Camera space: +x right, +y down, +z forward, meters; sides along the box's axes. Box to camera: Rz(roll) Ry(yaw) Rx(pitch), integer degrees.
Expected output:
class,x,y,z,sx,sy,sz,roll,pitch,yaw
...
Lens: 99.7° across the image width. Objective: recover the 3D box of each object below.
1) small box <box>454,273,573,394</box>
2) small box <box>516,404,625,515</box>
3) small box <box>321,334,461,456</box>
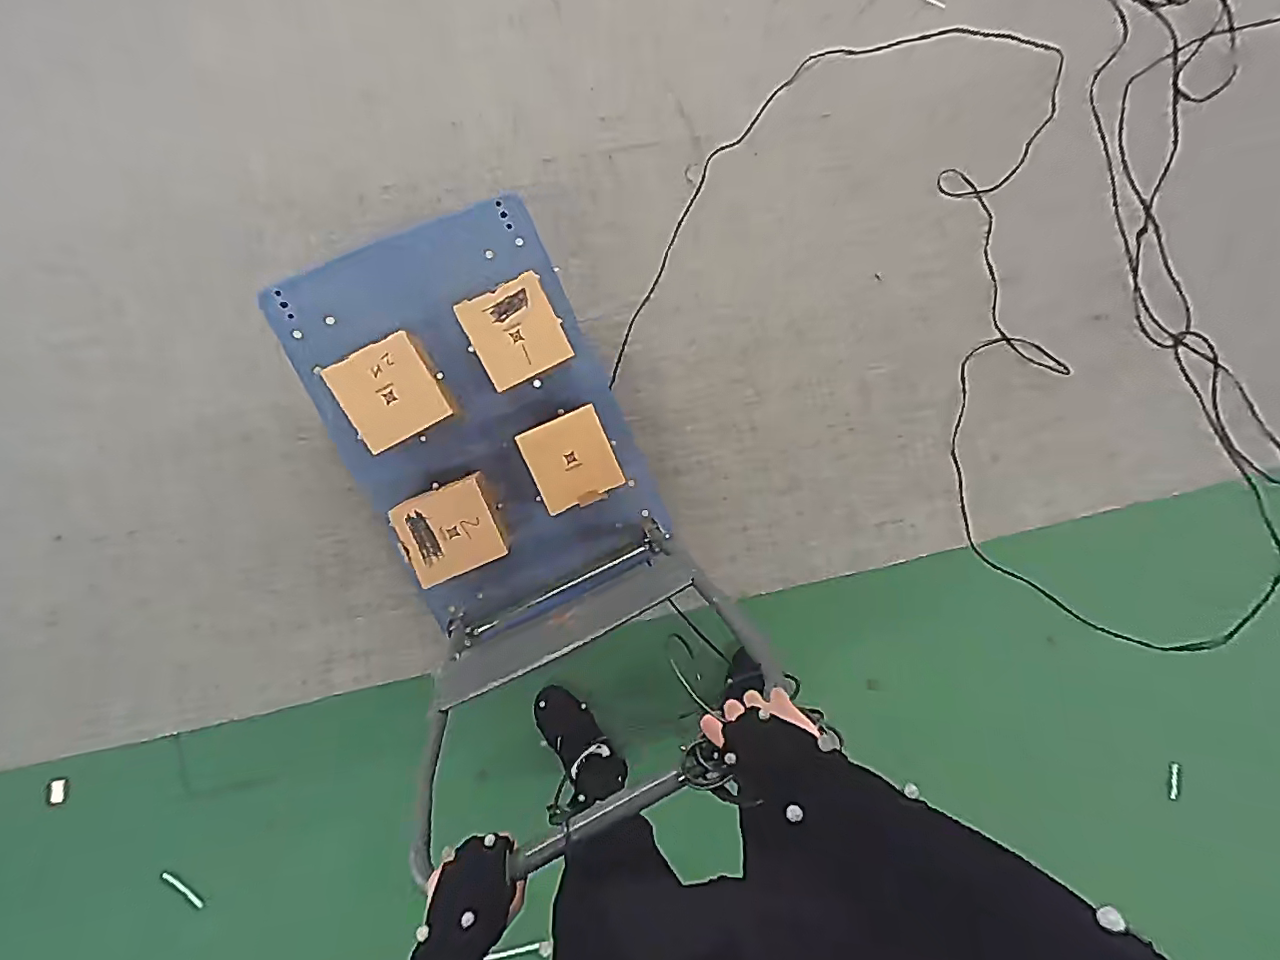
class,x,y,z,sx,sy,sz,roll,pitch,yaw
small box,-0.251,-0.286,1.095,0.168,0.176,0.179,-28,101,-6
small box,-0.150,-0.048,1.143,0.168,0.176,0.179,-25,101,-6
small box,-0.476,-0.165,1.068,0.168,0.176,0.179,-30,101,-6
